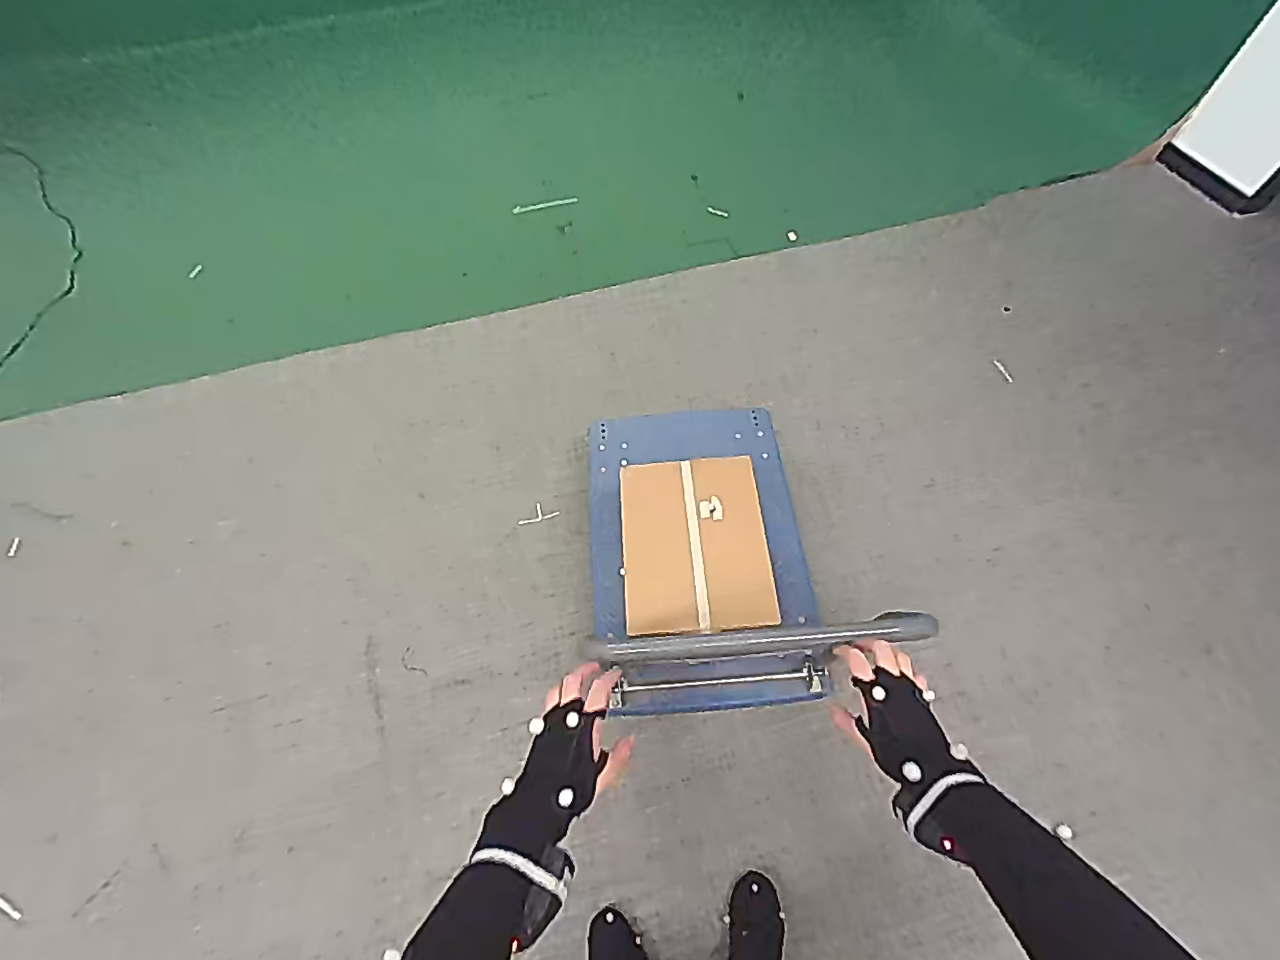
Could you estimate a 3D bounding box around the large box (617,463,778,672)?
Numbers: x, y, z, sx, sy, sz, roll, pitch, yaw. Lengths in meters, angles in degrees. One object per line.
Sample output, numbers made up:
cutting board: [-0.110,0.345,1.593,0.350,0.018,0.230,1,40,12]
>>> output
large box: [0.121,0.218,1.313,0.320,0.320,0.408,-4,58,0]
